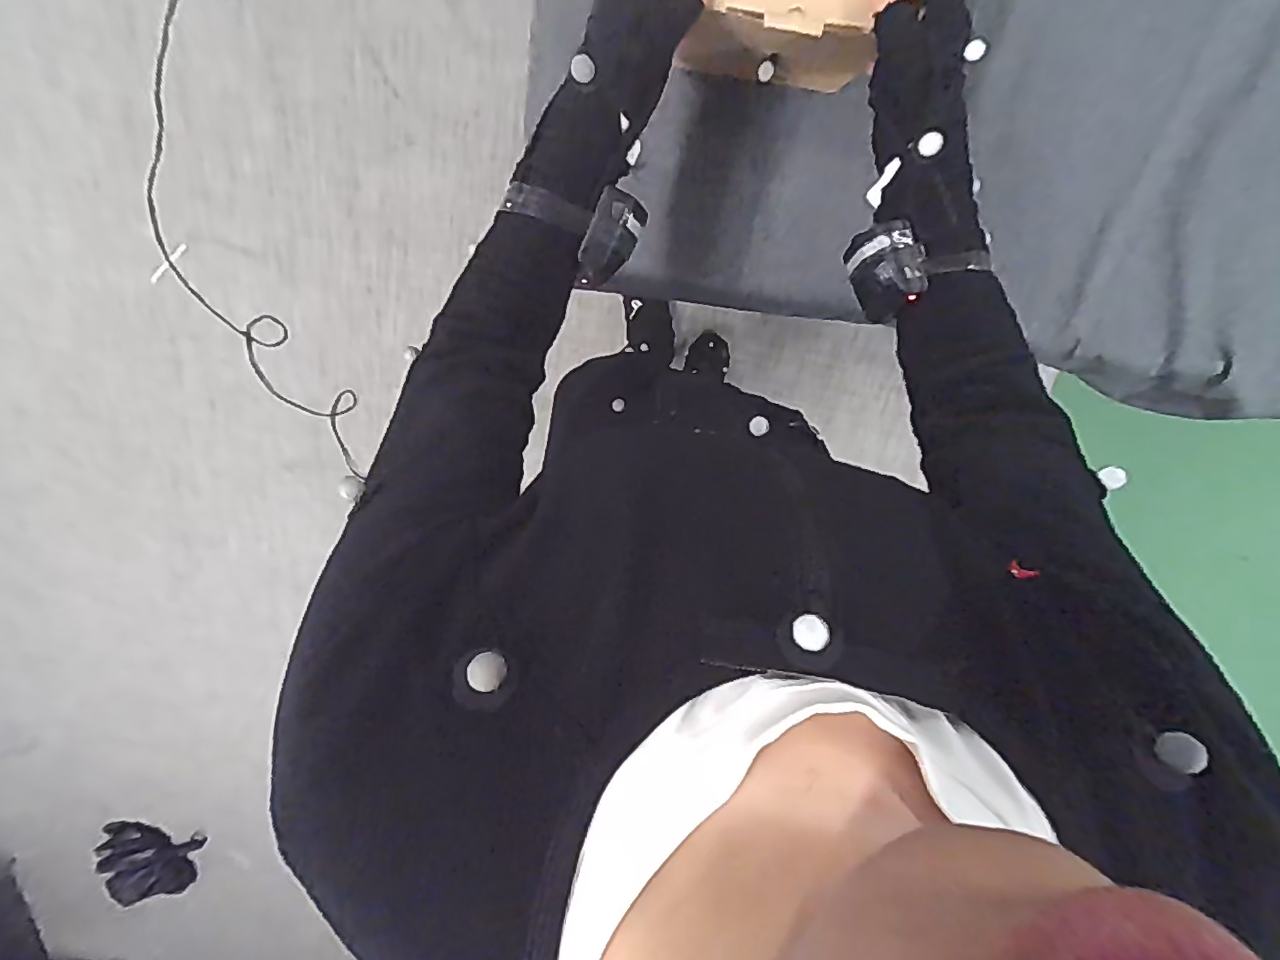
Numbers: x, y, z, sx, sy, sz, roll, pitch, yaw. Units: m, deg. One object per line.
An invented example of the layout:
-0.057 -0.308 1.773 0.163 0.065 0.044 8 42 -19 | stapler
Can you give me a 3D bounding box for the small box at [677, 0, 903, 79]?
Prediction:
0.124 -0.452 0.435 0.168 0.176 0.179 8 115 -1 | small box
